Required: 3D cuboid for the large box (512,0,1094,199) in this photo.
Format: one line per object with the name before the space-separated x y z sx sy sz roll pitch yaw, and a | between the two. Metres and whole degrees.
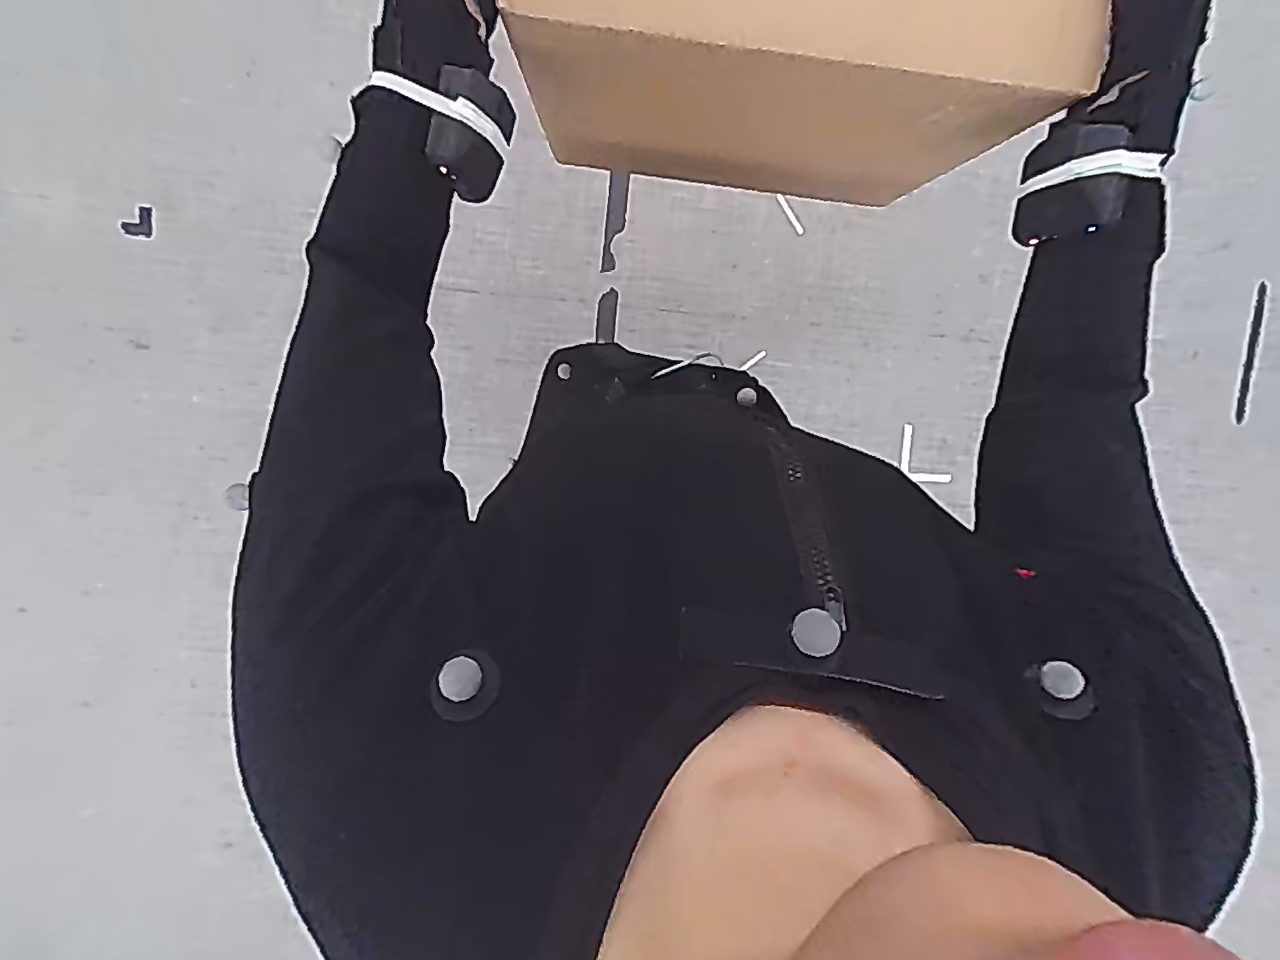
large box | 0.117 -0.475 0.480 0.408 0.320 0.320 6 105 -4
